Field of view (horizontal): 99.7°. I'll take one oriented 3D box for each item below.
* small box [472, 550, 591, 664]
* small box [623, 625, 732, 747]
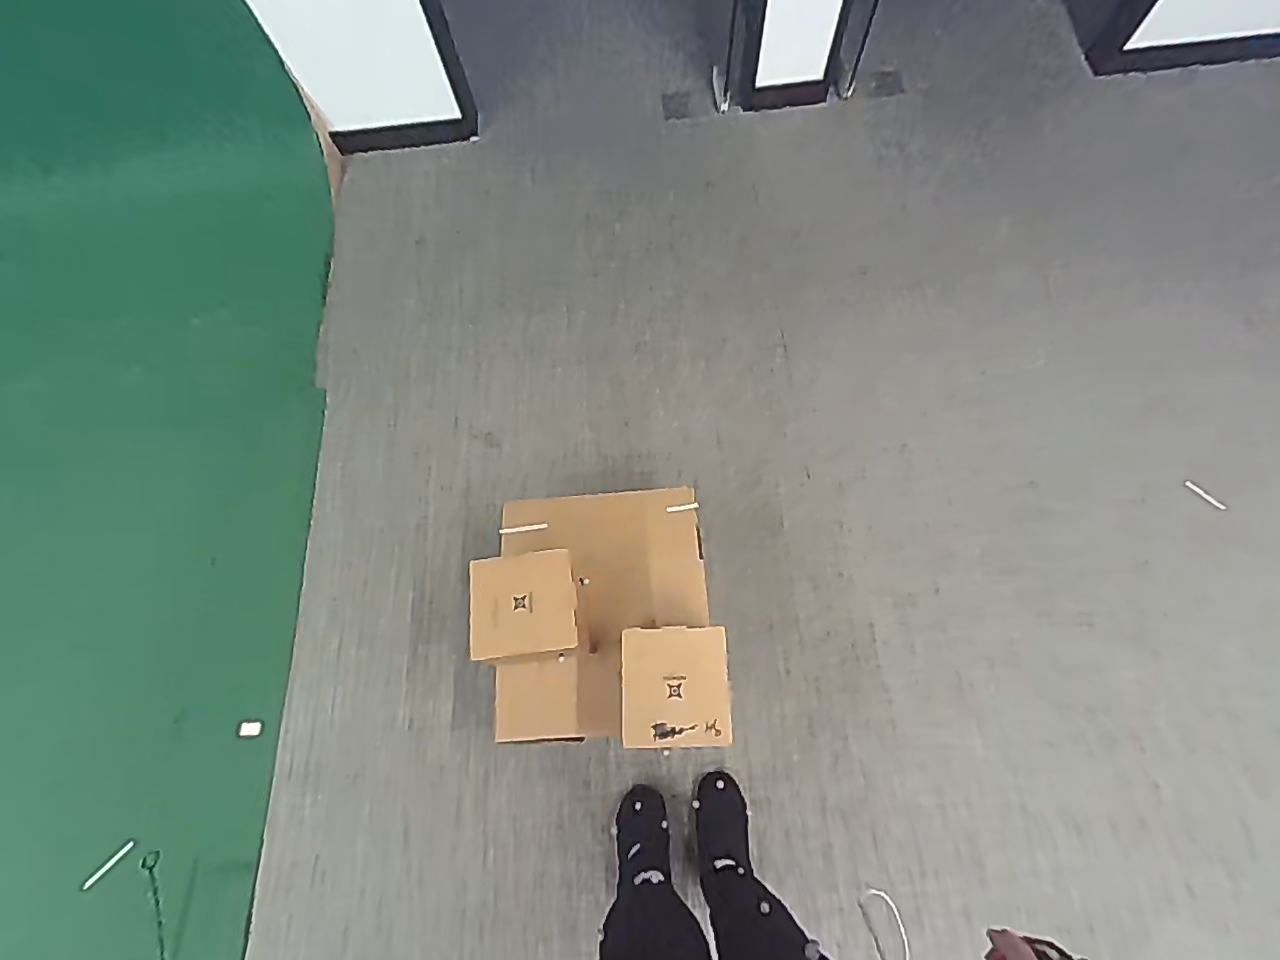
[{"bbox_3d":[-0.185,0.230,0.961,0.179,0.176,0.168,-8,68,1],"label":"small box"},{"bbox_3d":[0.058,0.342,0.902,0.168,0.176,0.179,-1,69,2],"label":"small box"}]
